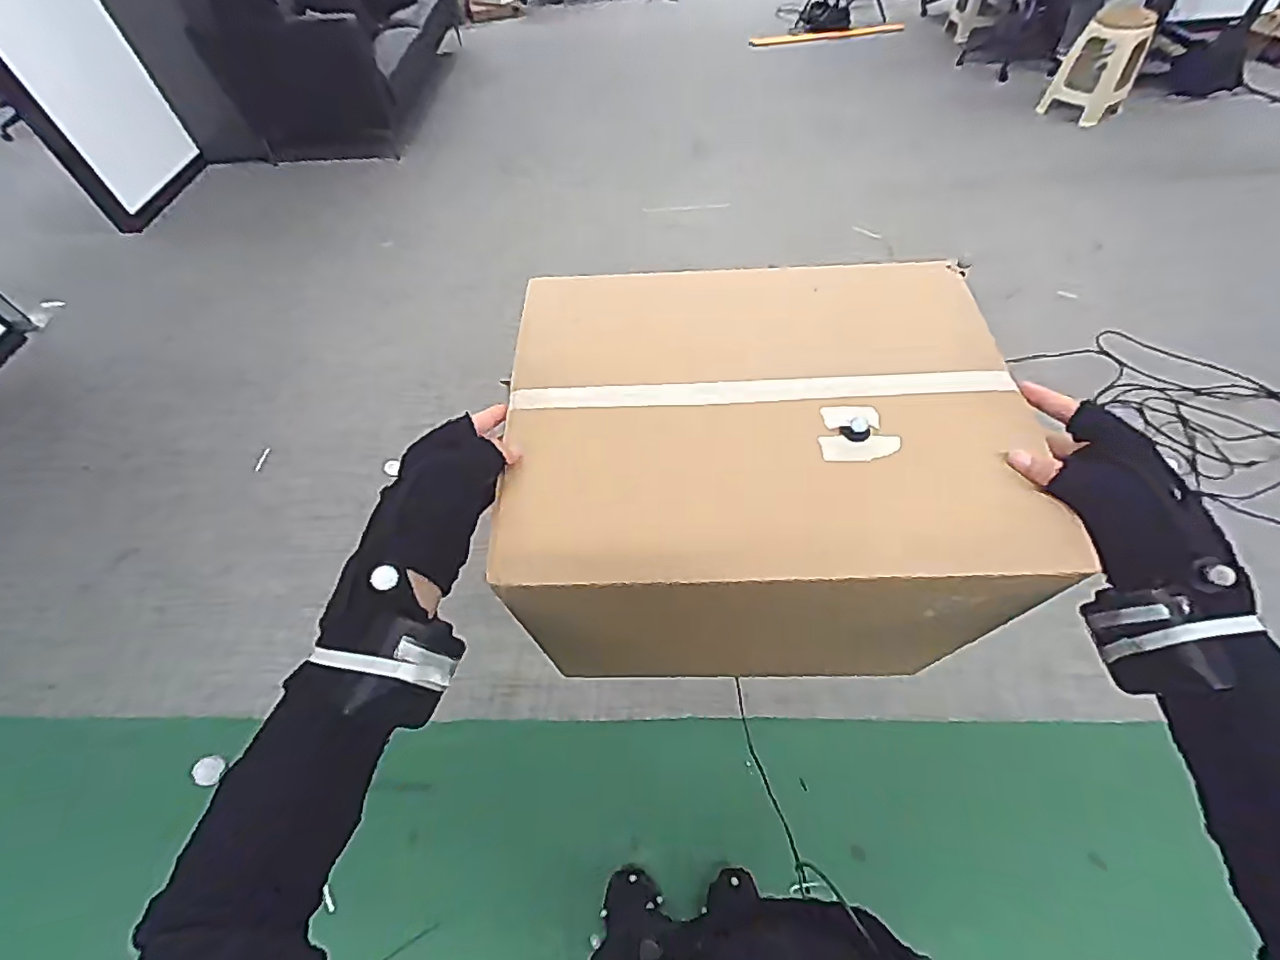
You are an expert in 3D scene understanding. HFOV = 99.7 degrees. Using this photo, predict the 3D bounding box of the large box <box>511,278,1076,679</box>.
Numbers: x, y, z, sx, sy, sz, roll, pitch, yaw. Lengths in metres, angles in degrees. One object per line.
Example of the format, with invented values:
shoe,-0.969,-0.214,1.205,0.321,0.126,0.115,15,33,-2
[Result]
large box,0.105,0.017,0.579,0.408,0.320,0.320,-2,59,1
